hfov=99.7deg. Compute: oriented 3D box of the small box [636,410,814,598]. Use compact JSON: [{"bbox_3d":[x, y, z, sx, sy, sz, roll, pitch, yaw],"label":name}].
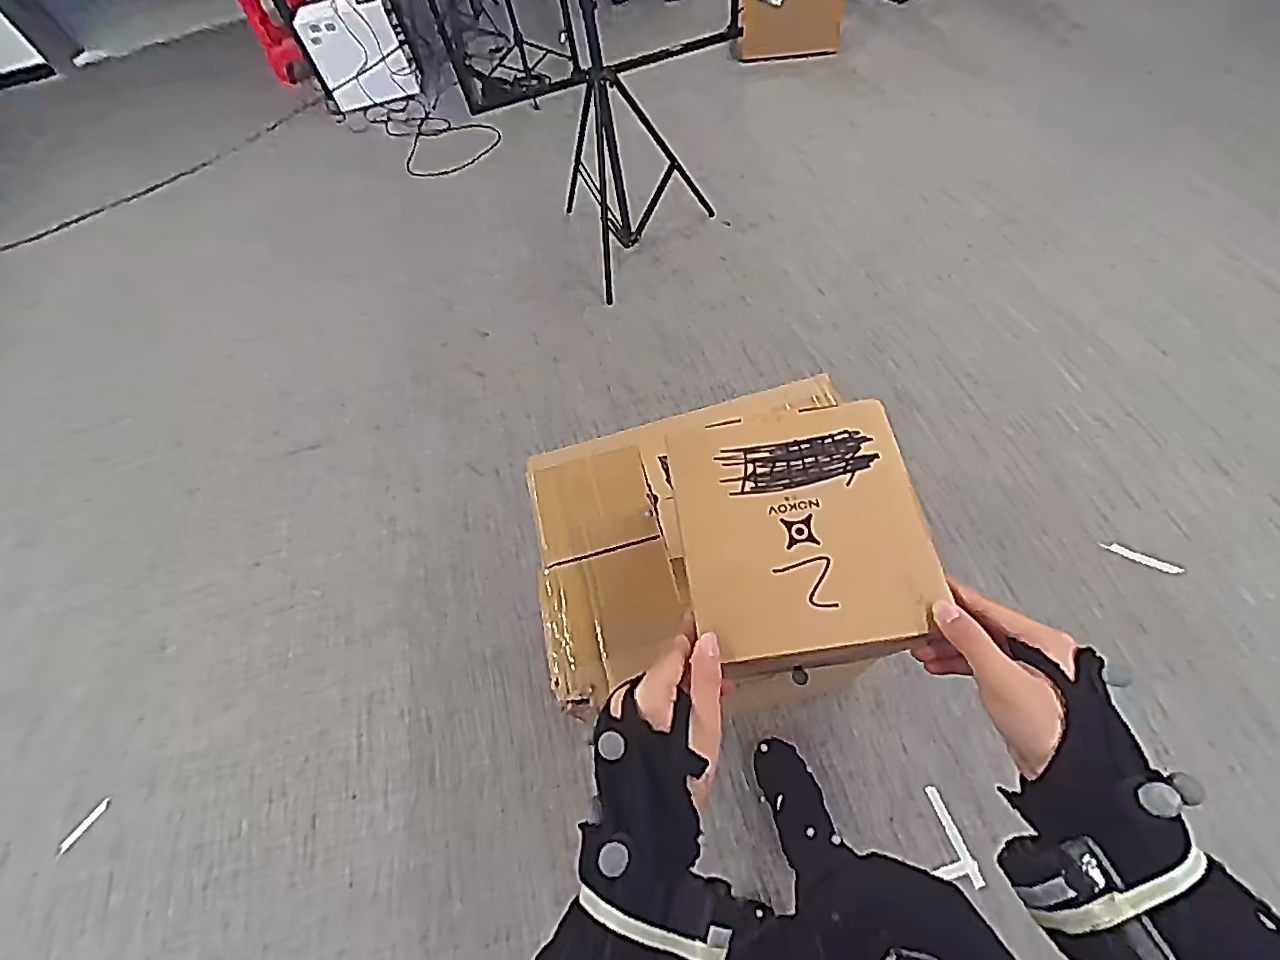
[{"bbox_3d":[0.106,0.040,0.711,0.179,0.176,0.168,-15,60,0],"label":"small box"}]
